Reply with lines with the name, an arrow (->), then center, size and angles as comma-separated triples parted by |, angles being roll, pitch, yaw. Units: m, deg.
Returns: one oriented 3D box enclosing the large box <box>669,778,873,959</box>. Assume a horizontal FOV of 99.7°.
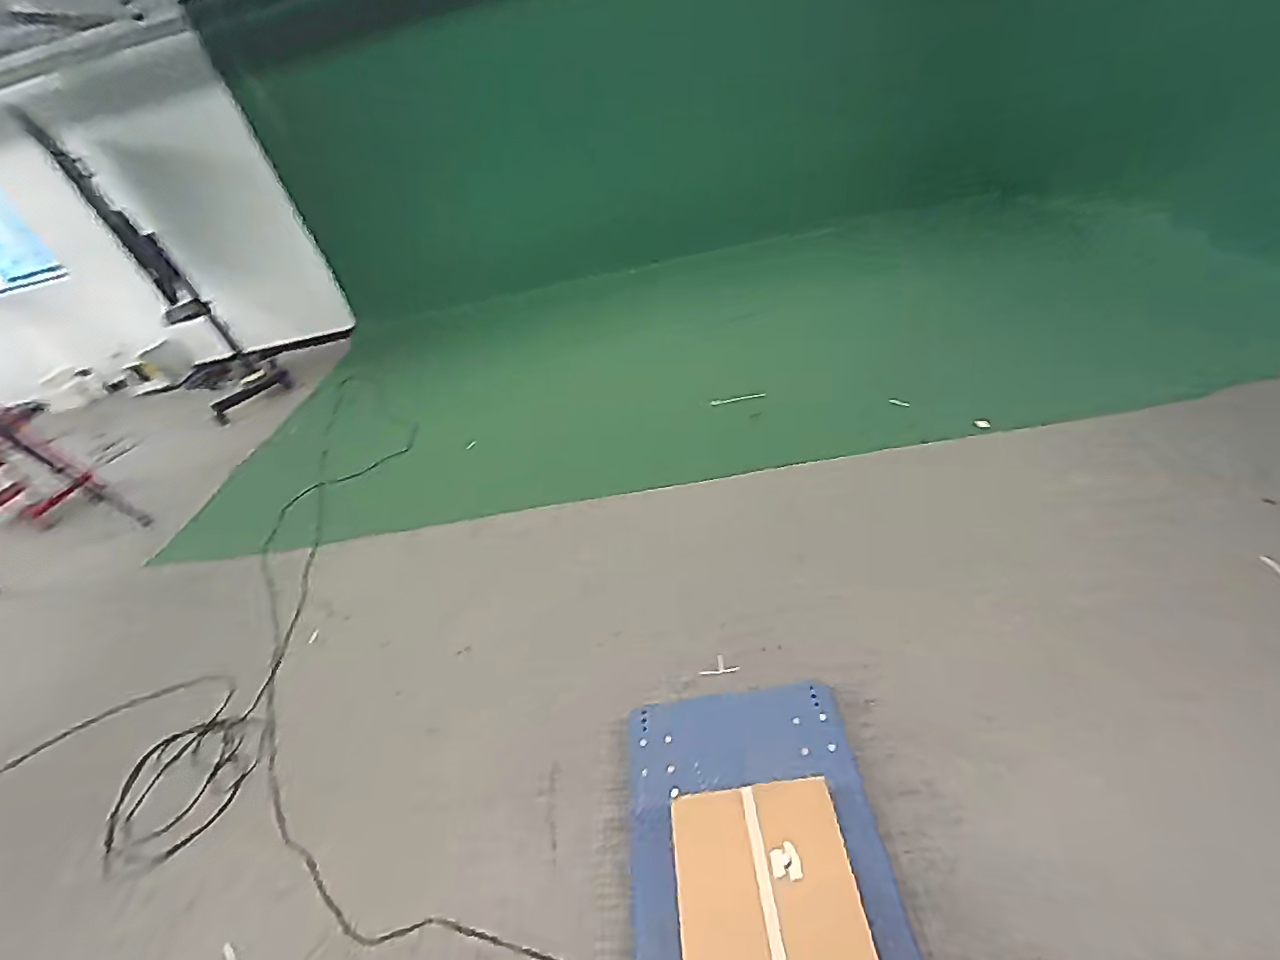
large box -> 0.251, 0.862, 1.029 | 0.320, 0.320, 0.408 | -11, 37, 5
